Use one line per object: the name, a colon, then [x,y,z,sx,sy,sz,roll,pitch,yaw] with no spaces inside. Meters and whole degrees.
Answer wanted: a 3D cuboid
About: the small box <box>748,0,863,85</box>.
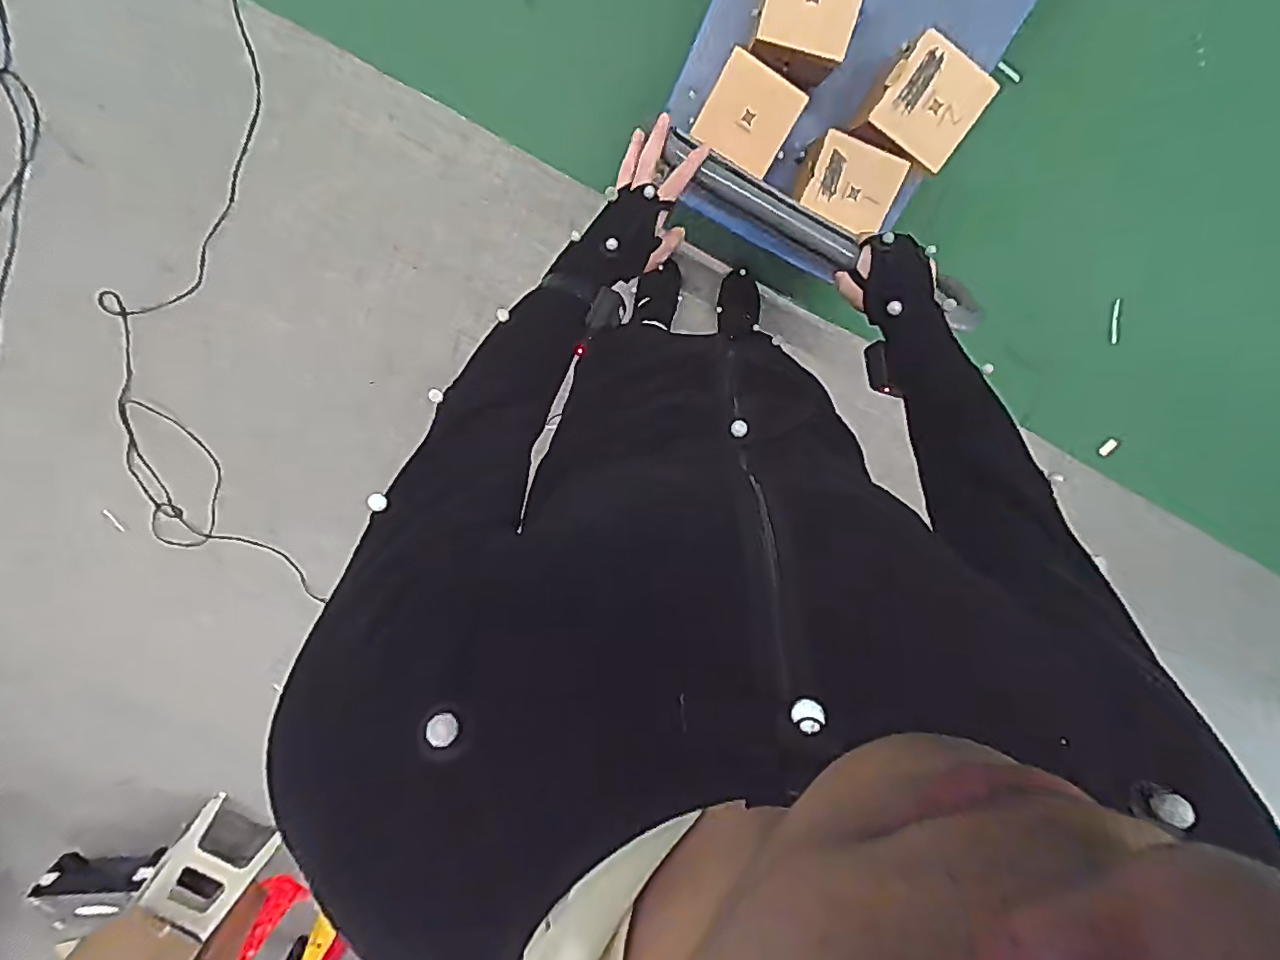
small box: [0.310,-0.875,1.010,0.168,0.176,0.179,14,114,-4]
